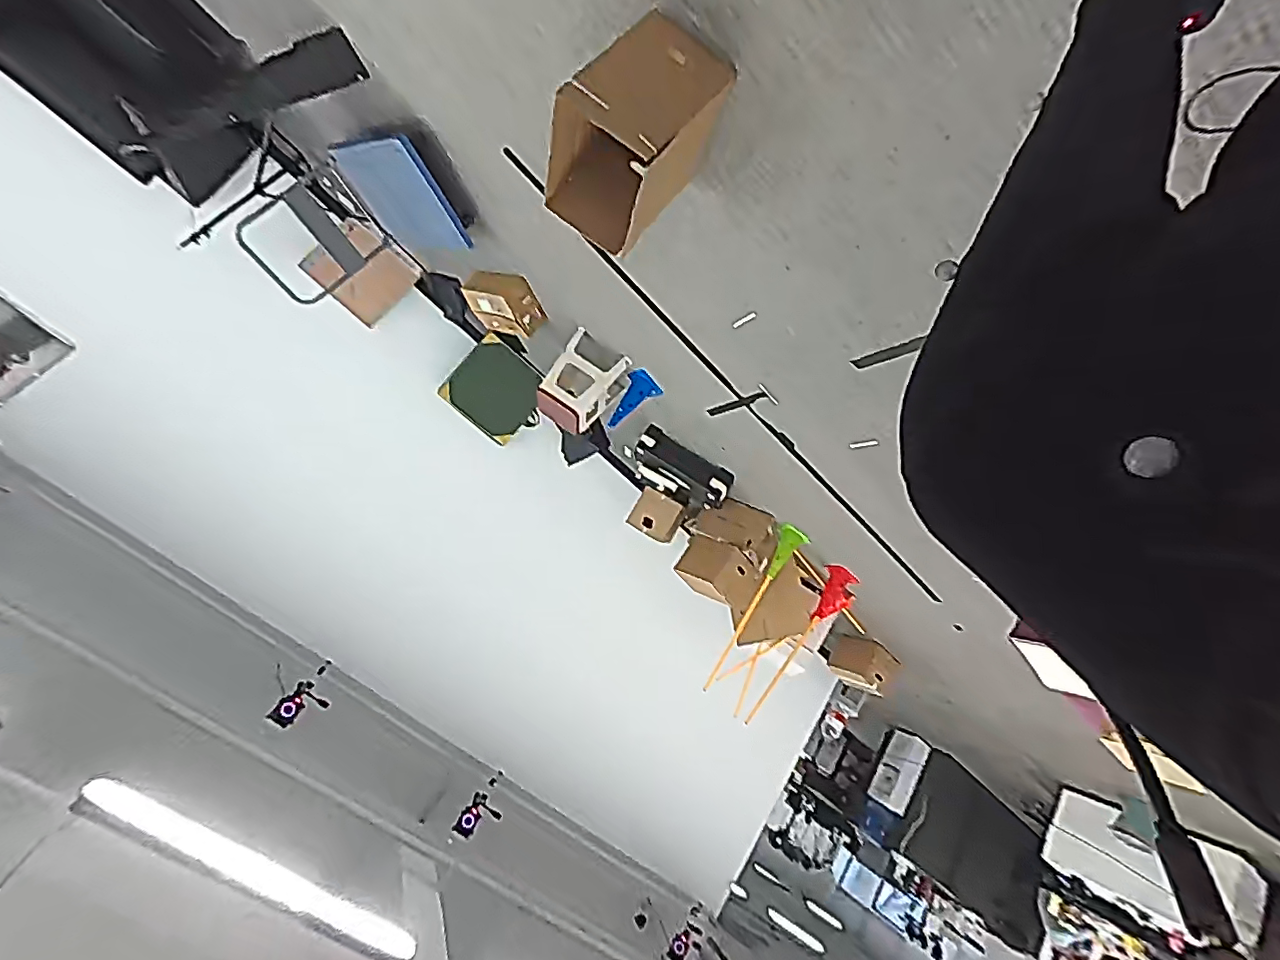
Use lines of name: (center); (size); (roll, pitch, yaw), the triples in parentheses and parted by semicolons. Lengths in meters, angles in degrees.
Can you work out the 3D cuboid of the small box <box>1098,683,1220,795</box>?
small box: (1.314, 0.644, 1.369); (0.179, 0.176, 0.168); (42, 160, -17)
